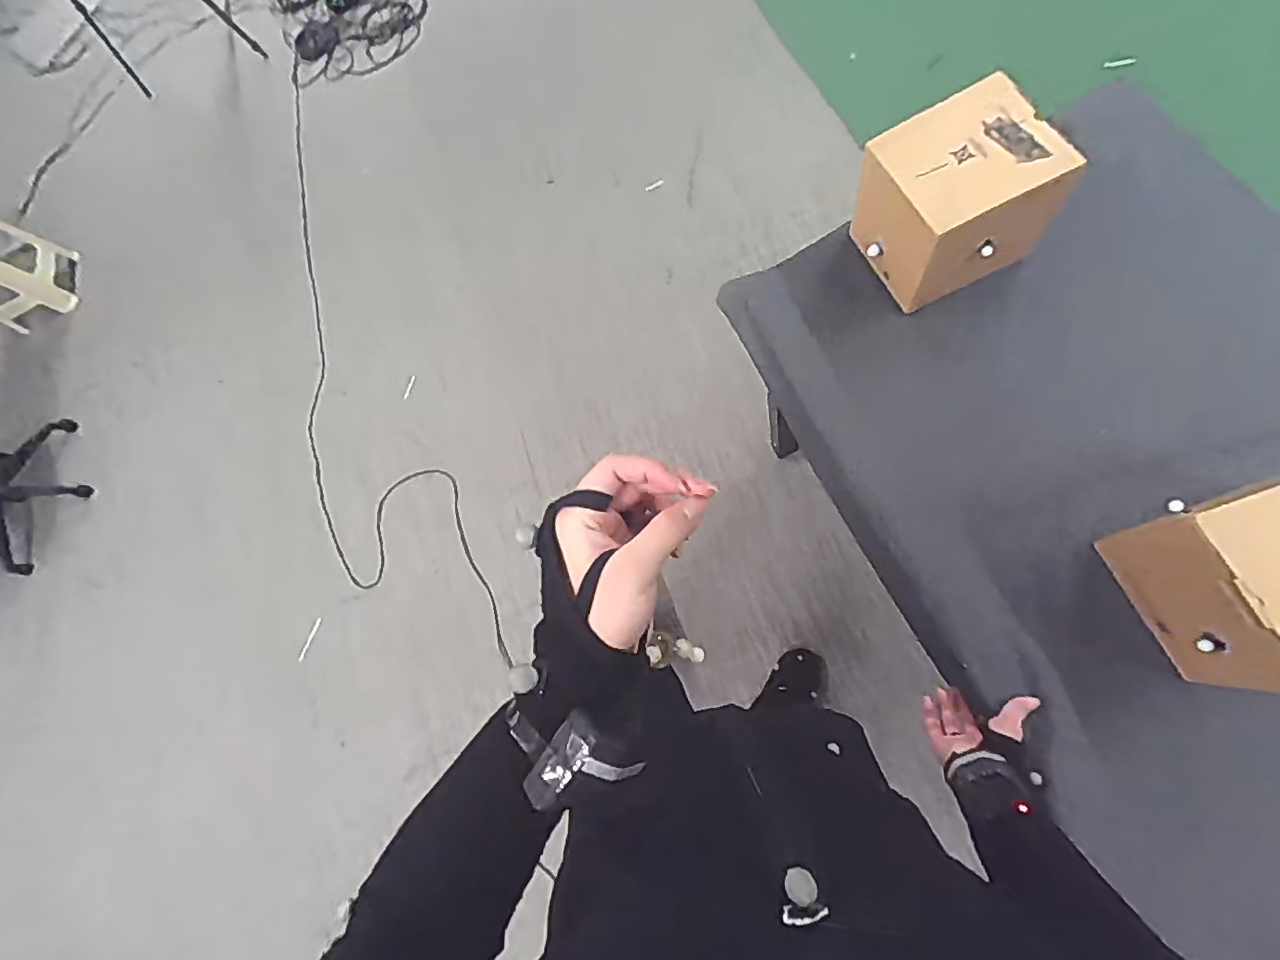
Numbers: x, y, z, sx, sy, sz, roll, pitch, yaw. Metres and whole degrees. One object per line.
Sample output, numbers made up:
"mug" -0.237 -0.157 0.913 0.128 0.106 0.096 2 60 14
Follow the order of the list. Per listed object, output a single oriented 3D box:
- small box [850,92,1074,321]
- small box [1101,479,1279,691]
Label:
"small box" 0.404 -0.349 0.720 0.179 0.176 0.168 -26 70 7
"small box" 0.622 0.102 0.542 0.179 0.176 0.168 -24 72 6
